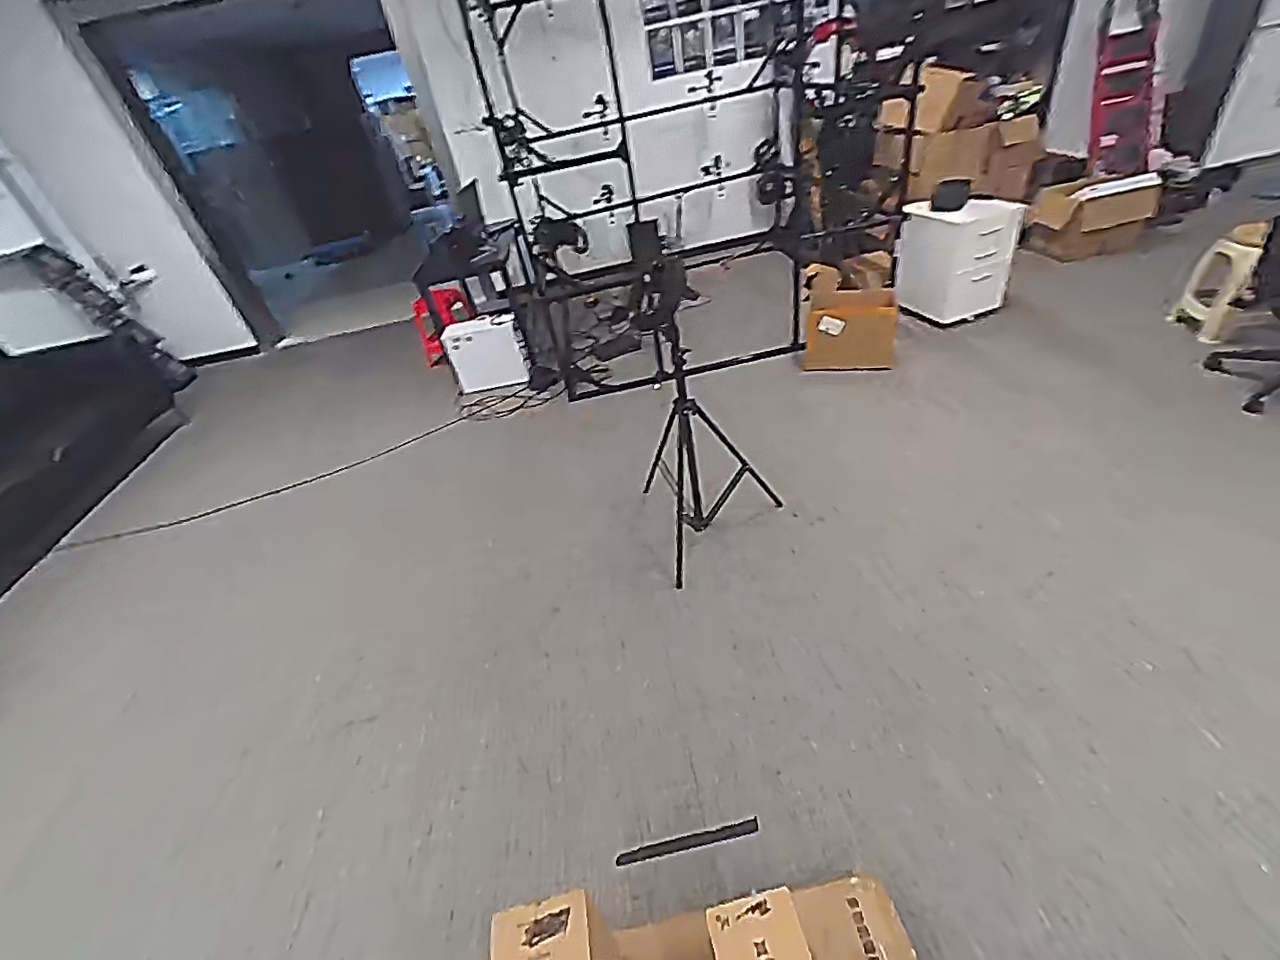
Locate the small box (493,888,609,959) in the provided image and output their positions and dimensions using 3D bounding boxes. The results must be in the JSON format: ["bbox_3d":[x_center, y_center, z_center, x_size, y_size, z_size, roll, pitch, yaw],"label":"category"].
[{"bbox_3d":[-0.145,0.836,0.912,0.168,0.176,0.179,-13,36,-2],"label":"small box"}]

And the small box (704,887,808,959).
[{"bbox_3d":[0.228,0.901,1.003,0.168,0.176,0.179,-15,37,-1],"label":"small box"}]

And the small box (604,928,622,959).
[{"bbox_3d":[-0.115,0.974,0.996,0.168,0.176,0.179,-12,36,-1],"label":"small box"}]
